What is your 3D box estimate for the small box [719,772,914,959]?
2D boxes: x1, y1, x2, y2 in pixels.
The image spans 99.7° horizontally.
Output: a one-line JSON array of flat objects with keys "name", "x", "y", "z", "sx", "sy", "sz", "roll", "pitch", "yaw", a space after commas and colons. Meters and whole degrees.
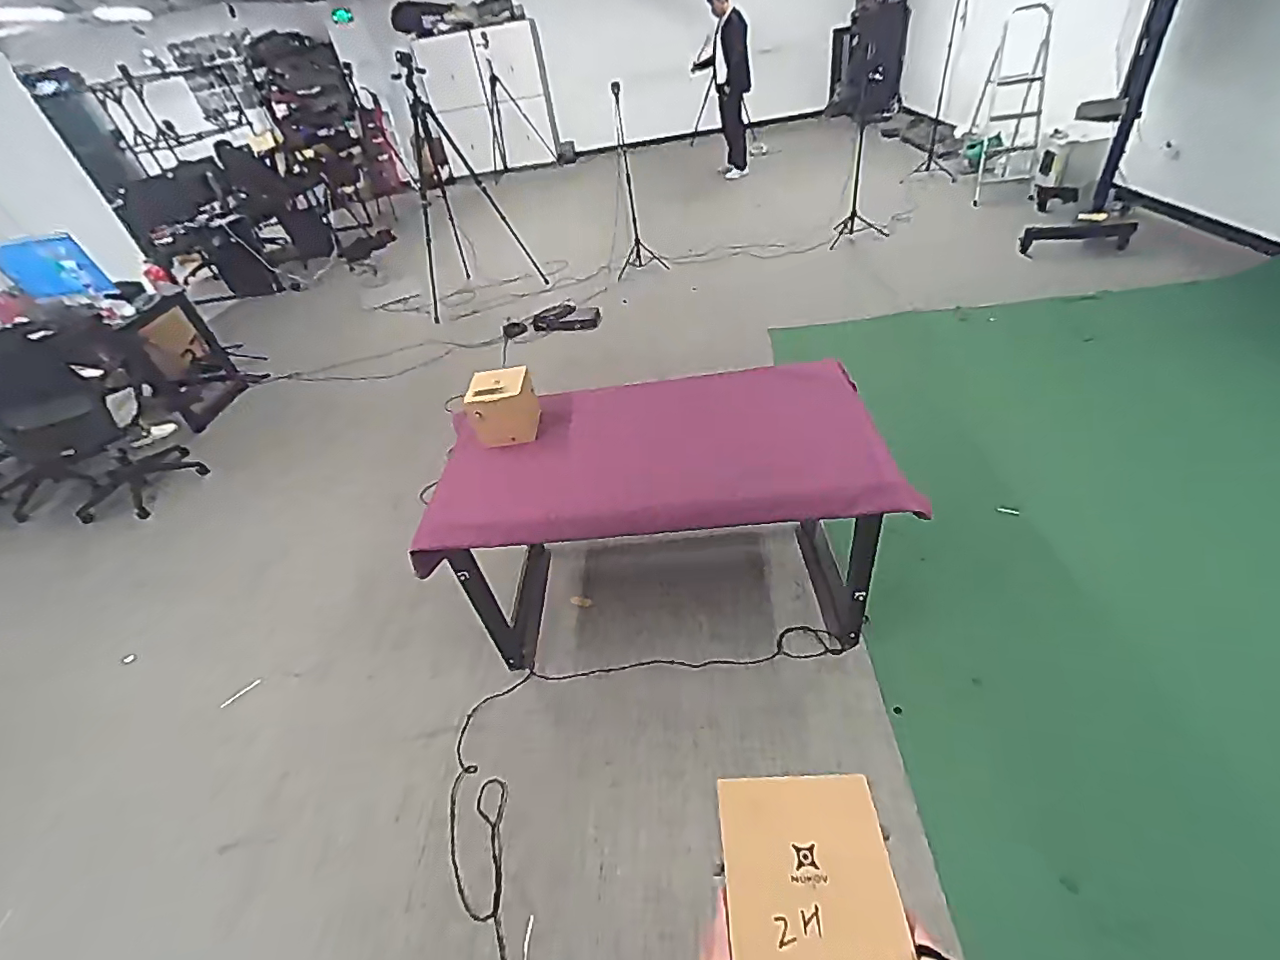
[{"name": "small box", "x": 0.176, "y": 0.448, "z": 0.595, "sx": 0.168, "sy": 0.176, "sz": 0.179, "roll": -5, "pitch": 40, "yaw": 6}]
